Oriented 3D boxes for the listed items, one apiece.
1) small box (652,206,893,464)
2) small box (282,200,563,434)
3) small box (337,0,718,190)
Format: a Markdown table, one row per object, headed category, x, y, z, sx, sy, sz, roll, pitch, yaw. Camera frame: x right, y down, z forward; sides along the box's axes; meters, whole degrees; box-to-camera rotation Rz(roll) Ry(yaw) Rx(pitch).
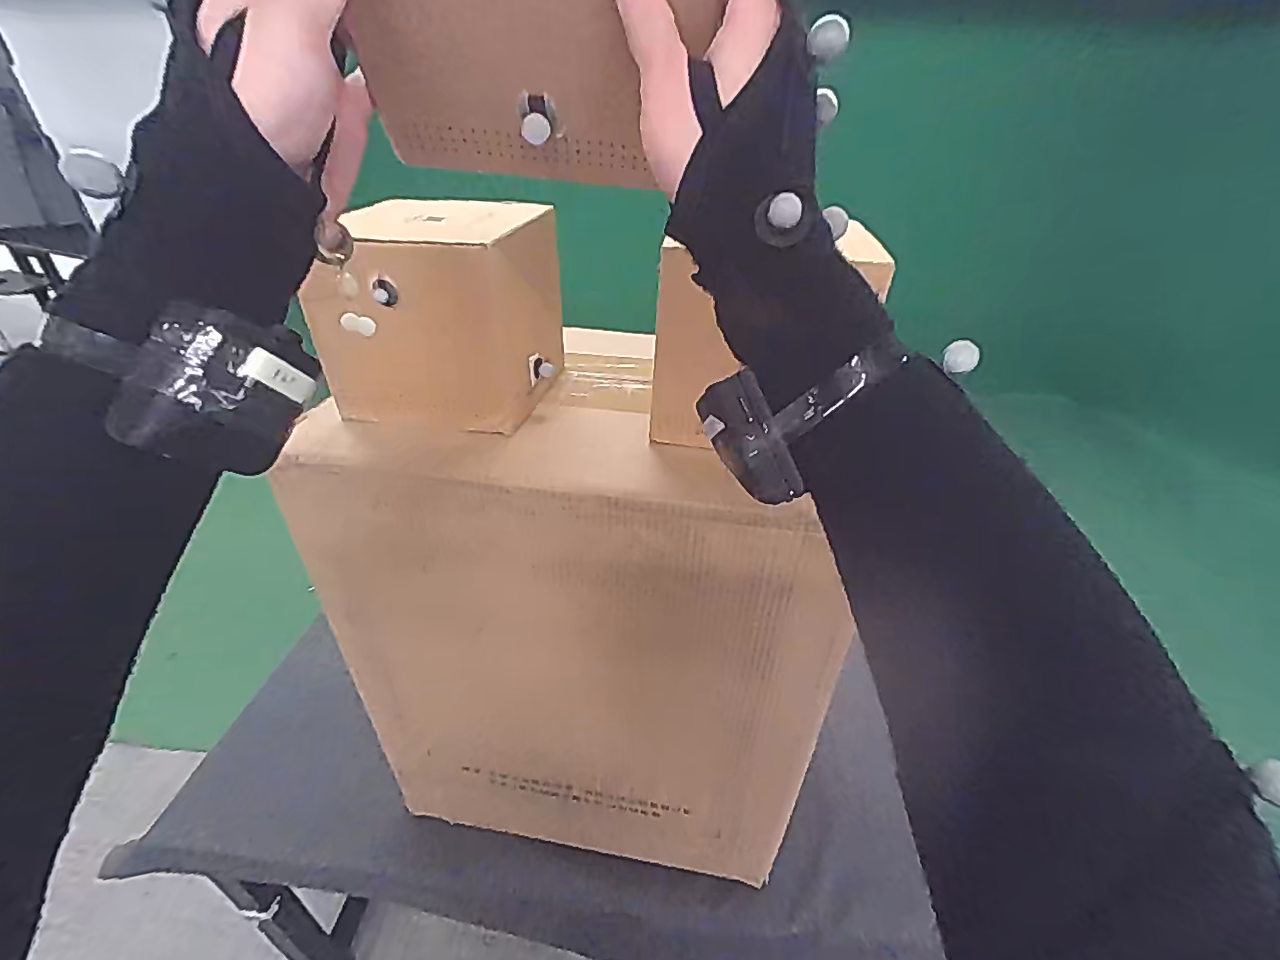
| category | x | y | z | sx | sy | sz | roll | pitch | yaw |
| --- | --- | --- | --- | --- | --- | --- | --- | --- | --- |
| small box | 0.105 | -0.138 | 0.497 | 0.168 | 0.176 | 0.179 | 8 | 37 | 6 |
| small box | -0.182 | -0.159 | 0.517 | 0.179 | 0.176 | 0.168 | 7 | 37 | 7 |
| small box | -0.046 | -0.281 | 0.275 | 0.179 | 0.176 | 0.168 | 6 | 68 | -2 |
